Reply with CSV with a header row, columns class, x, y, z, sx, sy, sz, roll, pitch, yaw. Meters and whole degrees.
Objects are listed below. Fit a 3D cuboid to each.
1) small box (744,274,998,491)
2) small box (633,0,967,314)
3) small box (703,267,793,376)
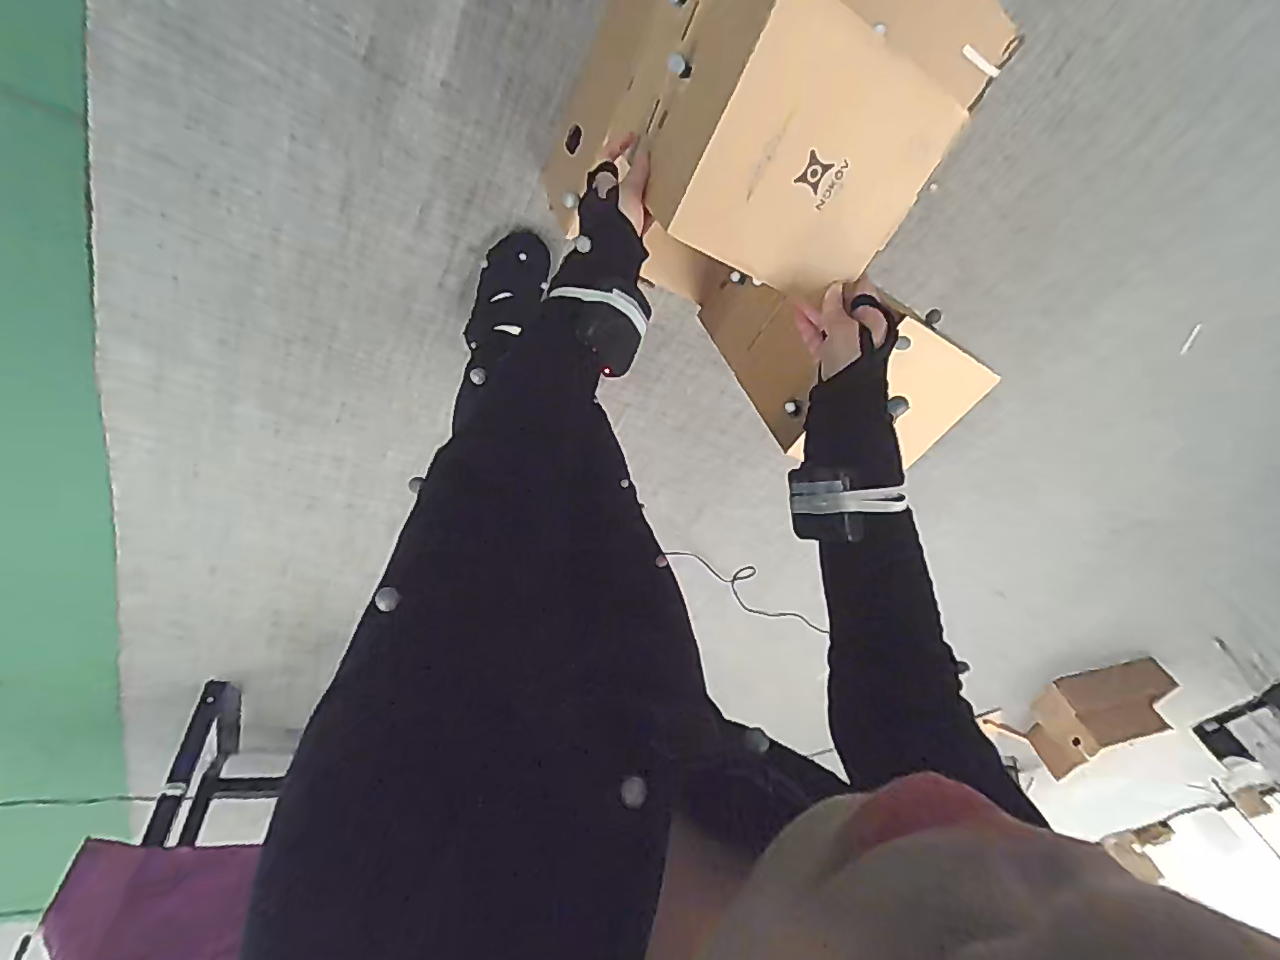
class,x,y,z,sx,sy,sz,roll,pitch,yaw
small box,0.247,-0.121,0.623,0.168,0.176,0.179,17,126,-28
small box,0.113,-0.274,0.455,0.179,0.176,0.168,15,124,-24
small box,0.215,-0.227,0.744,0.179,0.176,0.168,18,125,-27
